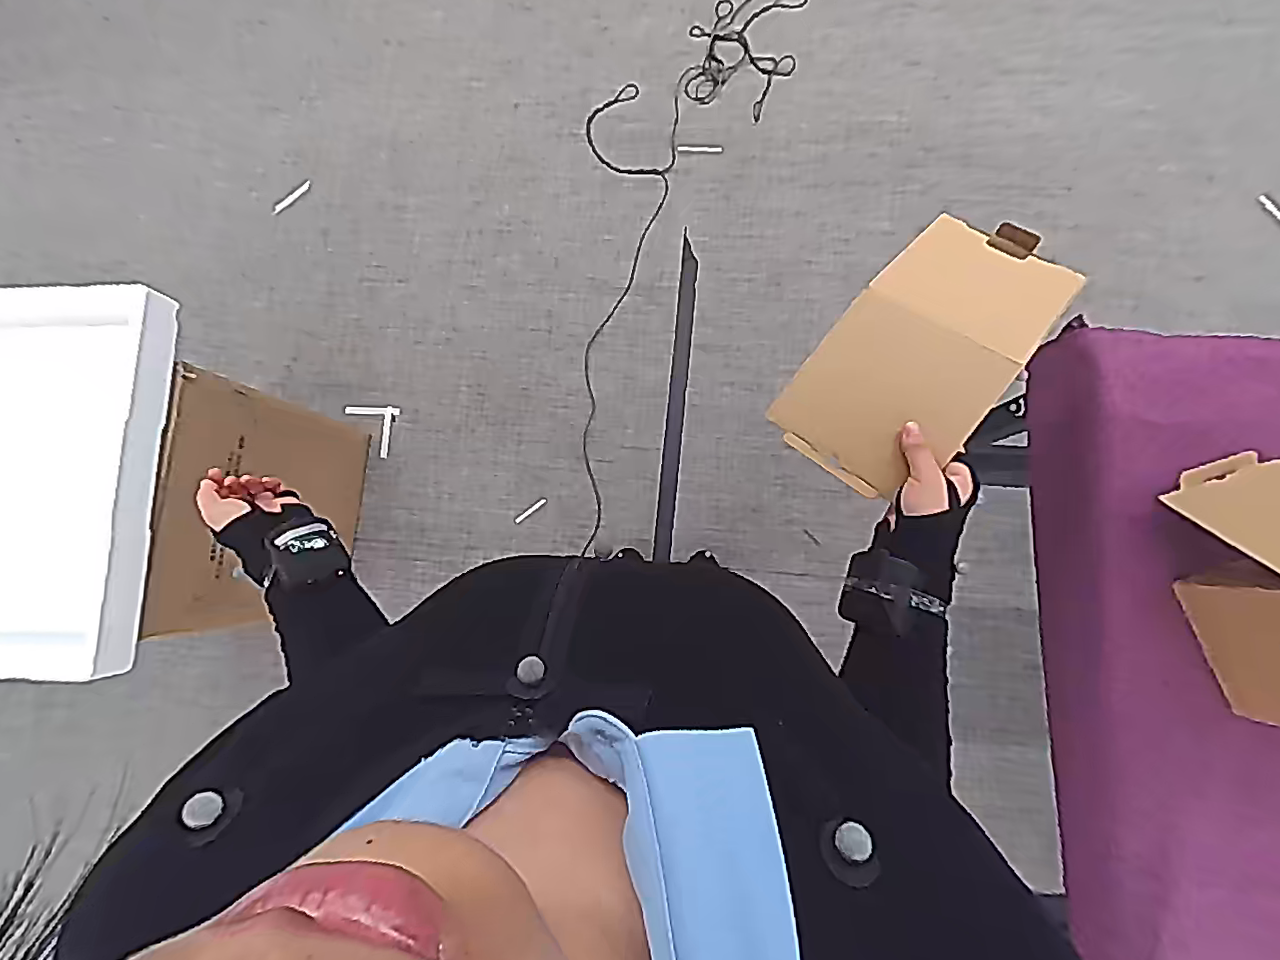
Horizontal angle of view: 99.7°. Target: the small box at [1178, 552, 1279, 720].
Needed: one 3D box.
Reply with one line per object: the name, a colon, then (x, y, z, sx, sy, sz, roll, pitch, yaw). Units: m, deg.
small box: (0.797, 0.179, 0.622, 0.168, 0.176, 0.179, -18, 81, 2)
